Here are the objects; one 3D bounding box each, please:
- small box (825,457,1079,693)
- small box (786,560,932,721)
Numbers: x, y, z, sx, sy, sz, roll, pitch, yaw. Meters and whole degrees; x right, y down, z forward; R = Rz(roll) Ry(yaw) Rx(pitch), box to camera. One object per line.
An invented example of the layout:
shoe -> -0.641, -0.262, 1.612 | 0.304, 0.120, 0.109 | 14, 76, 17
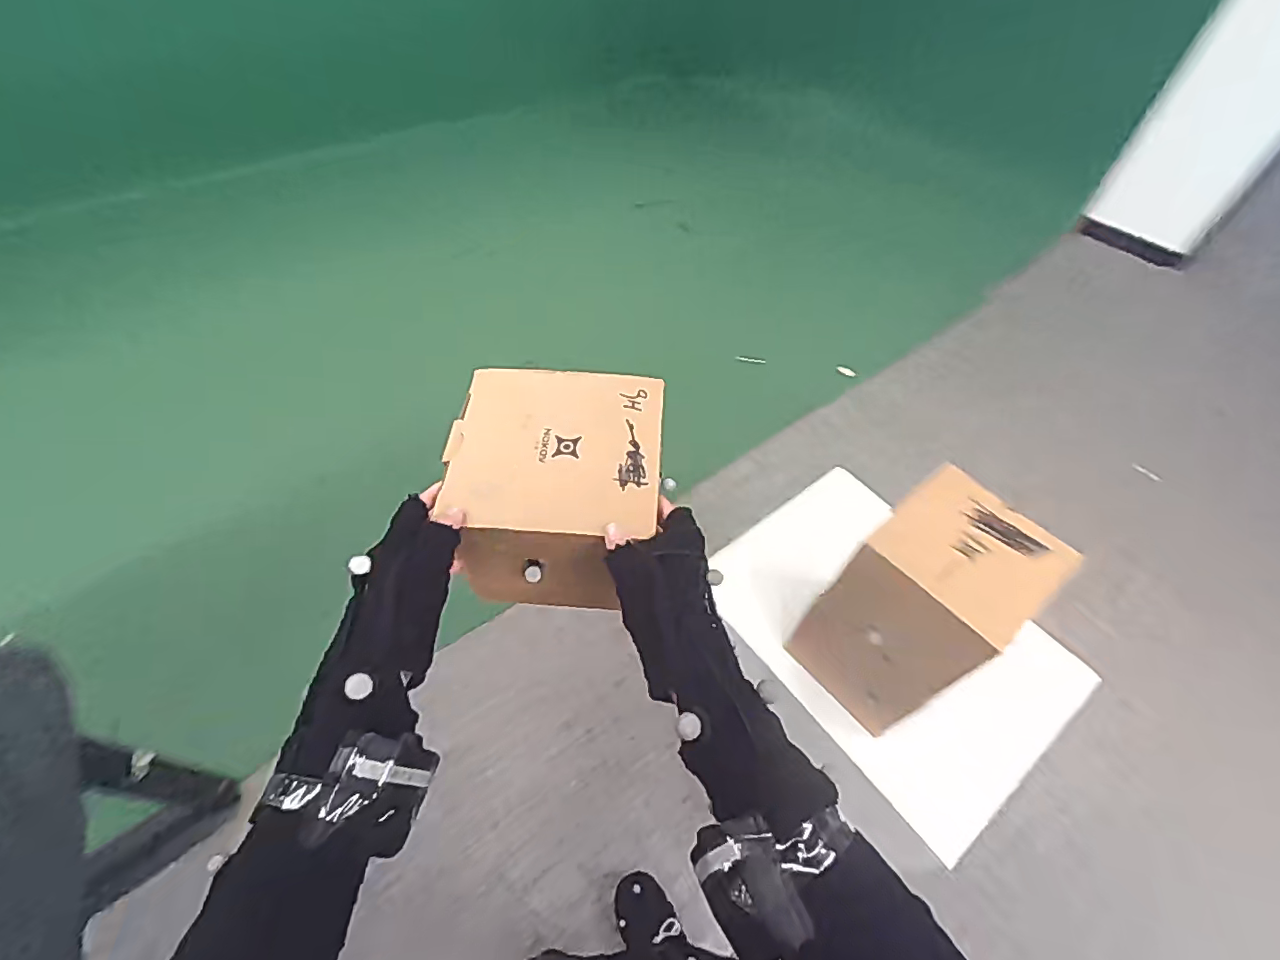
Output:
small box -> 0.348, 0.112, 0.634 | 0.179, 0.176, 0.168 | -35, 61, -27
small box -> 0.336, 0.212, 0.764 | 0.168, 0.176, 0.179 | -34, 59, -24
